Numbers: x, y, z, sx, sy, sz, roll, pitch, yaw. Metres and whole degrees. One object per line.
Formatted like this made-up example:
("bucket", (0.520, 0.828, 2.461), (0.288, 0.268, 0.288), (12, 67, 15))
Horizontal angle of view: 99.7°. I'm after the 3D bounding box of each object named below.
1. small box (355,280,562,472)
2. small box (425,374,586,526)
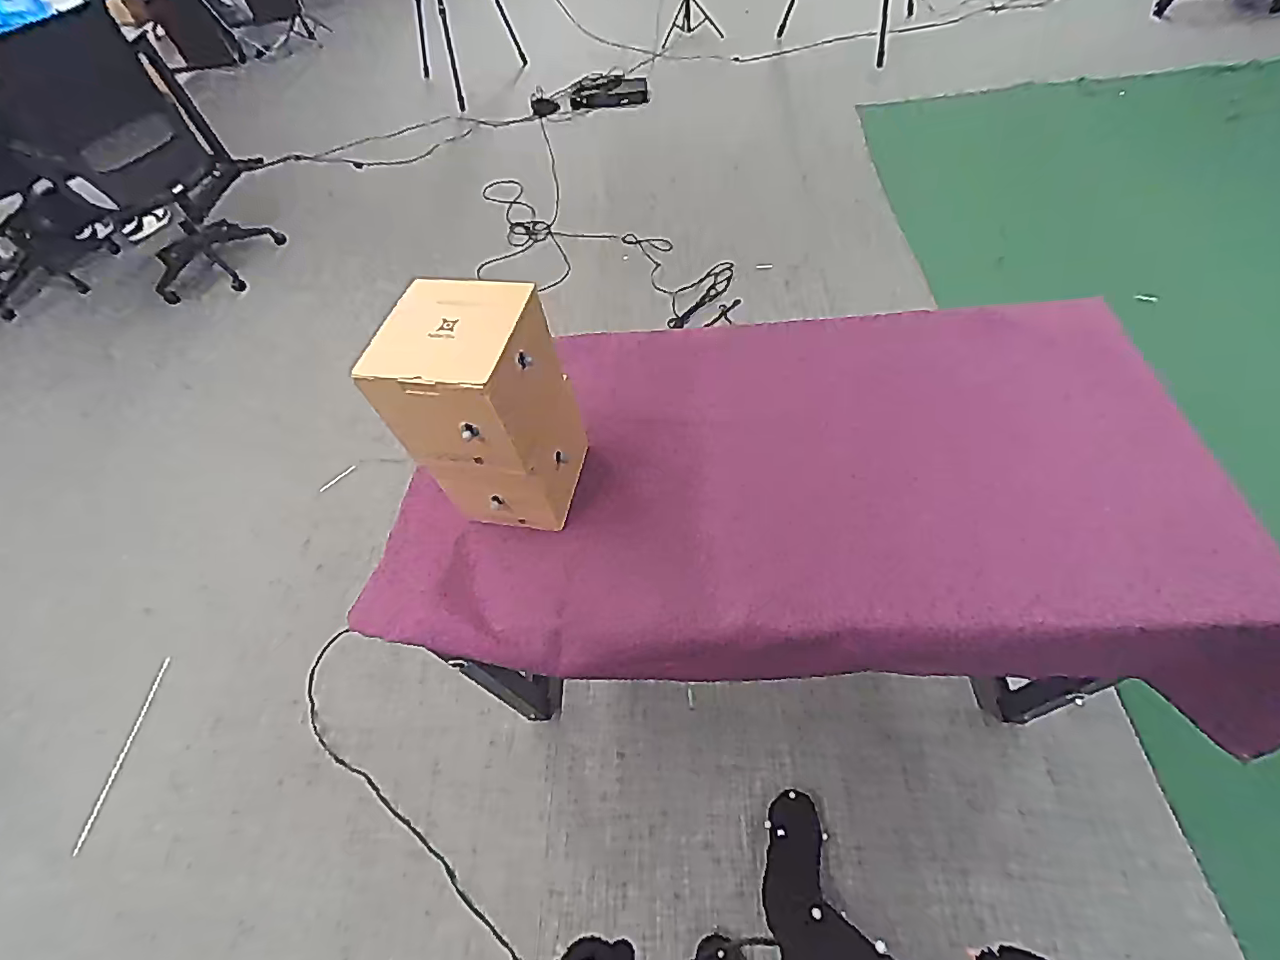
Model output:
("small box", (-0.211, -0.129, 0.690), (0.168, 0.176, 0.179), (7, 56, 12))
("small box", (-0.190, -0.045, 0.829), (0.168, 0.176, 0.179), (6, 57, 11))
